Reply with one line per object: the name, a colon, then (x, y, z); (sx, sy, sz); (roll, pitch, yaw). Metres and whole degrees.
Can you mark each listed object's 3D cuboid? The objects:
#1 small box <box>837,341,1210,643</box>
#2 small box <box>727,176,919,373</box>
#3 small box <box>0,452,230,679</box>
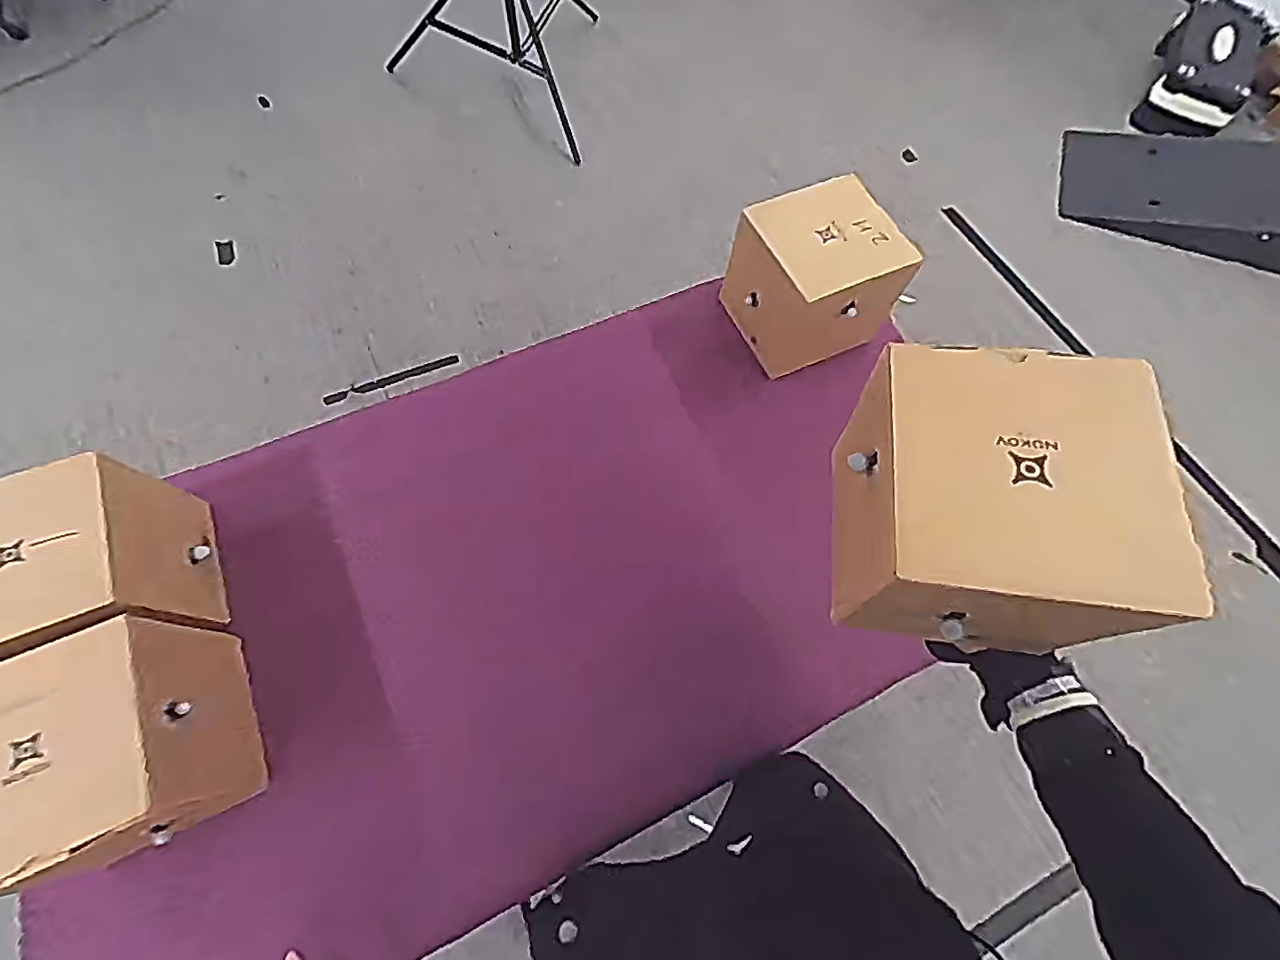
small box: (0.255, 0.019, 0.414); (0.168, 0.176, 0.179); (5, 65, 9)
small box: (0.235, -0.277, 0.755); (0.179, 0.176, 0.168); (-22, 71, -12)
small box: (-0.586, 0.100, 0.570); (0.179, 0.176, 0.168); (-21, 72, -12)
